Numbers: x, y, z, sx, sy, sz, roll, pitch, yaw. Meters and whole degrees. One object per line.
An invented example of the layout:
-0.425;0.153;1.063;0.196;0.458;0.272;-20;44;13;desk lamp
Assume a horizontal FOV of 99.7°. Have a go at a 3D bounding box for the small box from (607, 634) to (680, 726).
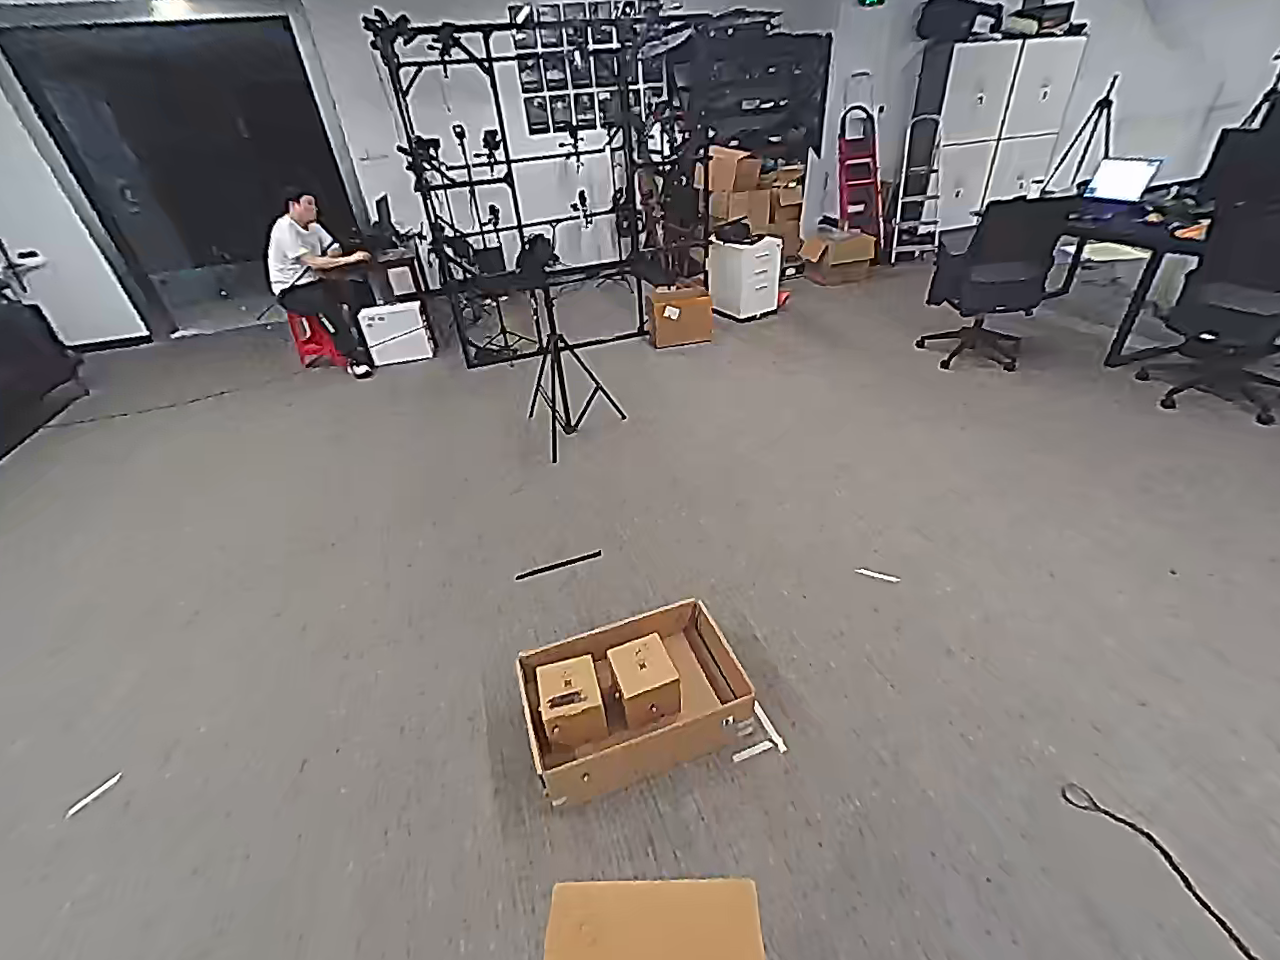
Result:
0.014;0.599;1.605;0.168;0.176;0.179;-15;36;-15;small box
